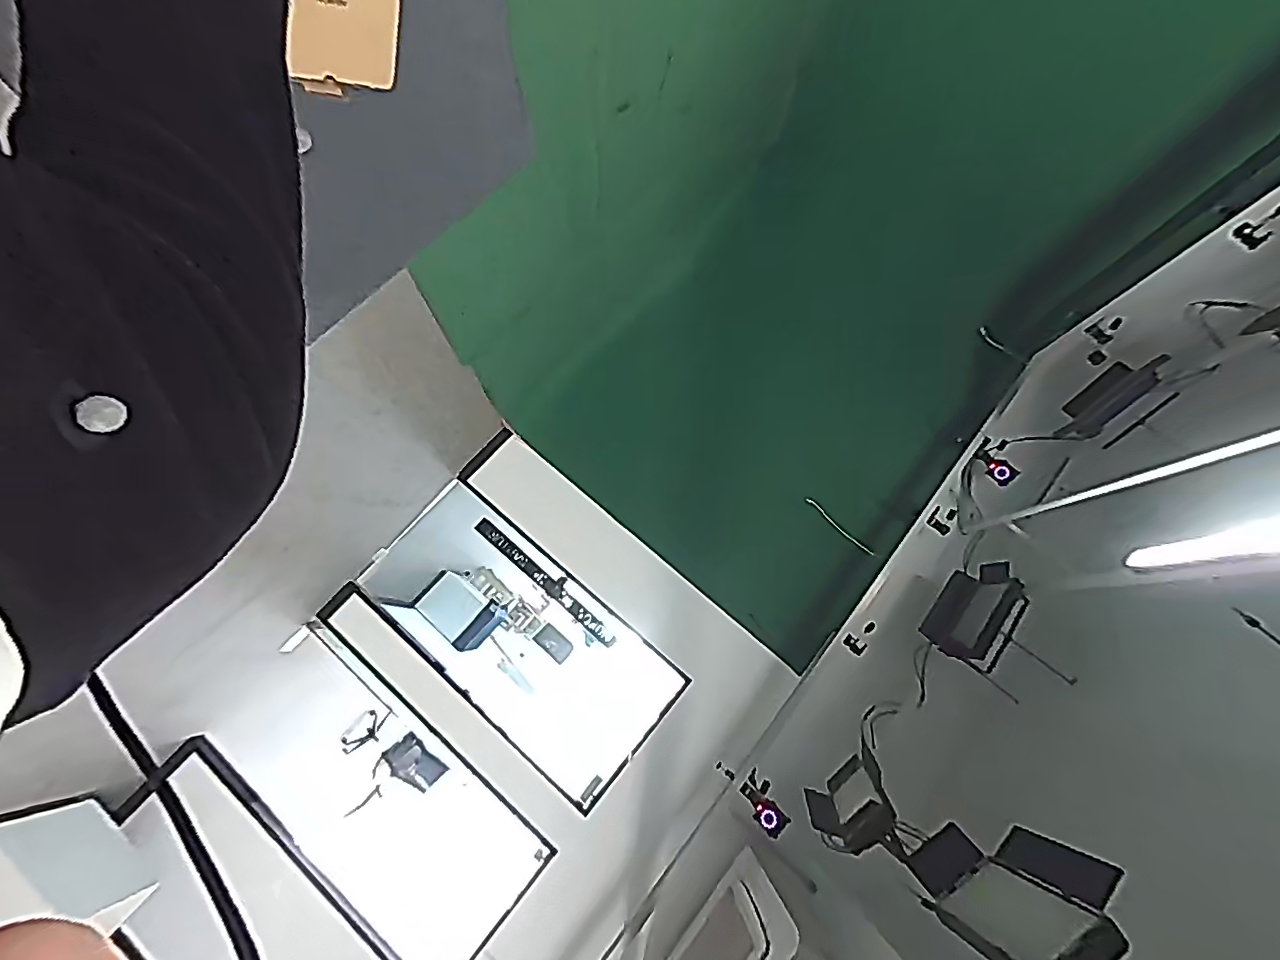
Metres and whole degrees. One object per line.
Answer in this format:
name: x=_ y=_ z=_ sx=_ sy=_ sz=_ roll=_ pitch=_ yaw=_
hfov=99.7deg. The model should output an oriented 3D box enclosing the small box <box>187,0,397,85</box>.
small box: x=-0.378 y=-0.564 z=0.566 sx=0.168 sy=0.176 sz=0.179 roll=-36 pitch=165 yaw=-48
